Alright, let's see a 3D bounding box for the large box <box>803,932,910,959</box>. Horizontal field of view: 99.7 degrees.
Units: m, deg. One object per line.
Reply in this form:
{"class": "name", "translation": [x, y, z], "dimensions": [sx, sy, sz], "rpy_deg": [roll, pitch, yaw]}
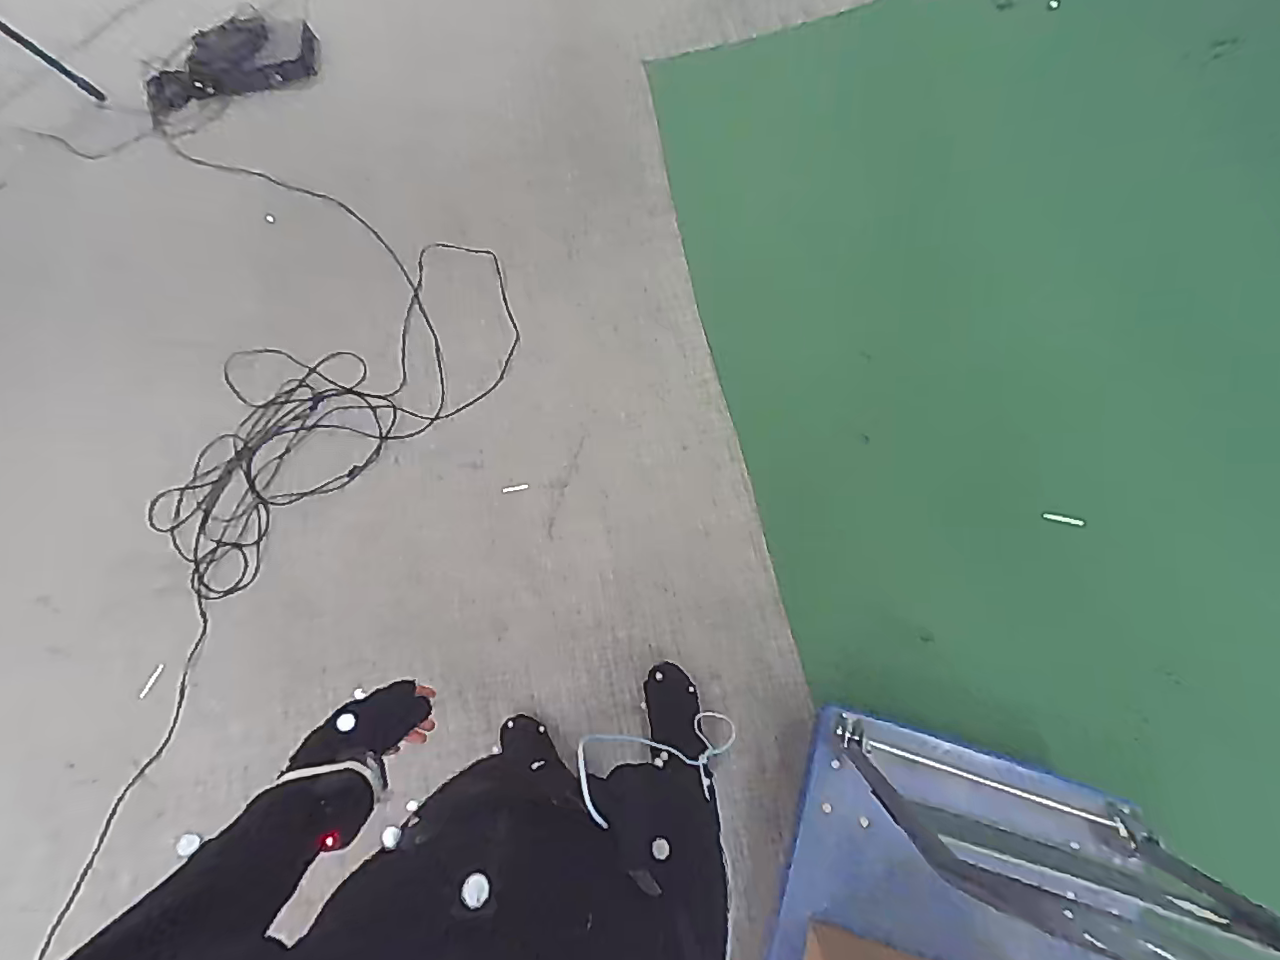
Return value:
{"class": "large box", "translation": [0.445, 0.939, 0.761], "dimensions": [0.408, 0.320, 0.320], "rpy_deg": [11, 76, 9]}
